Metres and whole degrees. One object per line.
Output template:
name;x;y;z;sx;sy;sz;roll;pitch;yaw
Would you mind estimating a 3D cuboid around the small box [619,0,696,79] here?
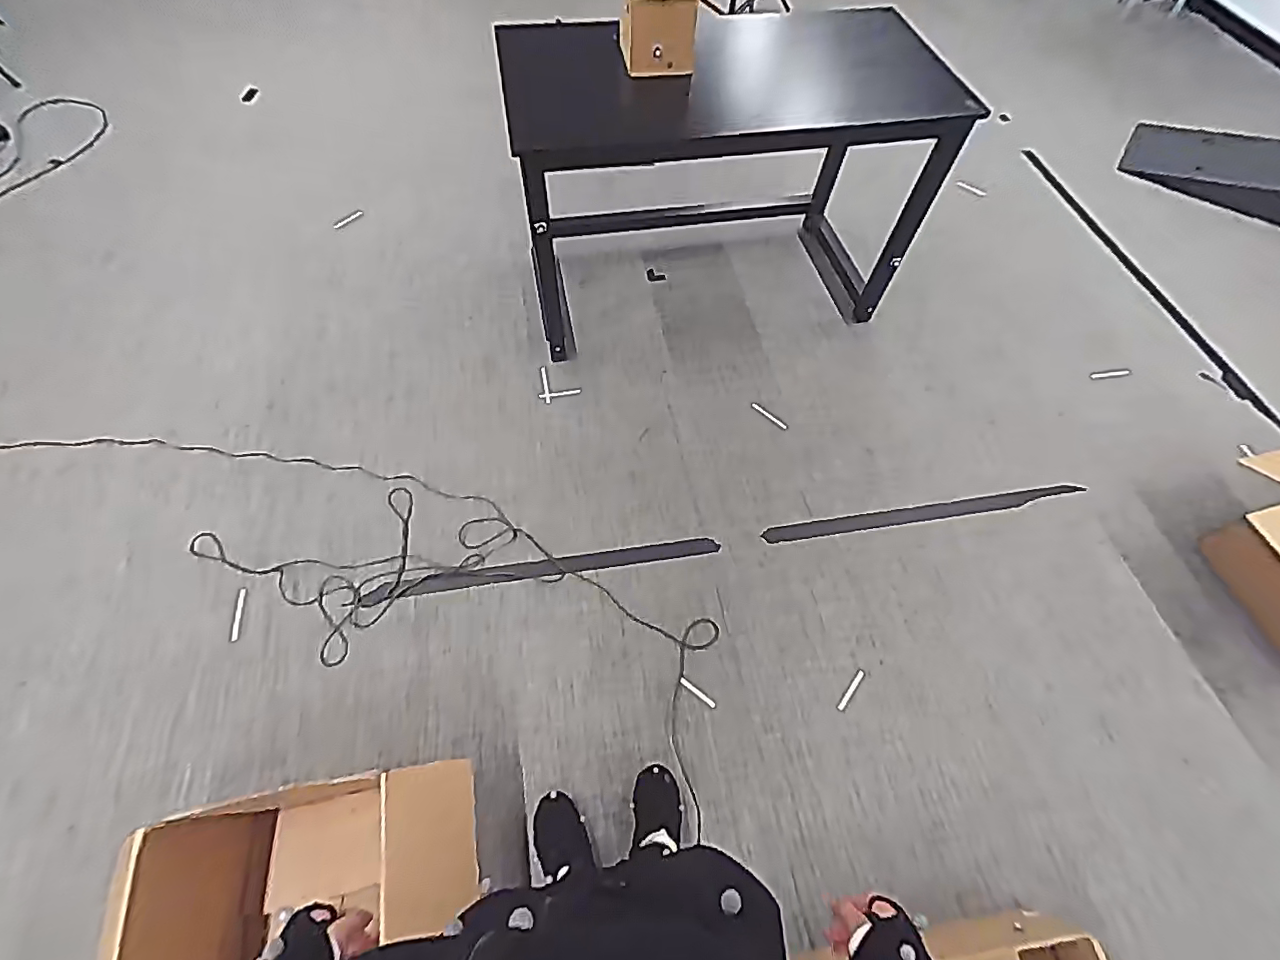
small box;0.038;-1.167;1.390;0.168;0.176;0.179;-8;62;-6
